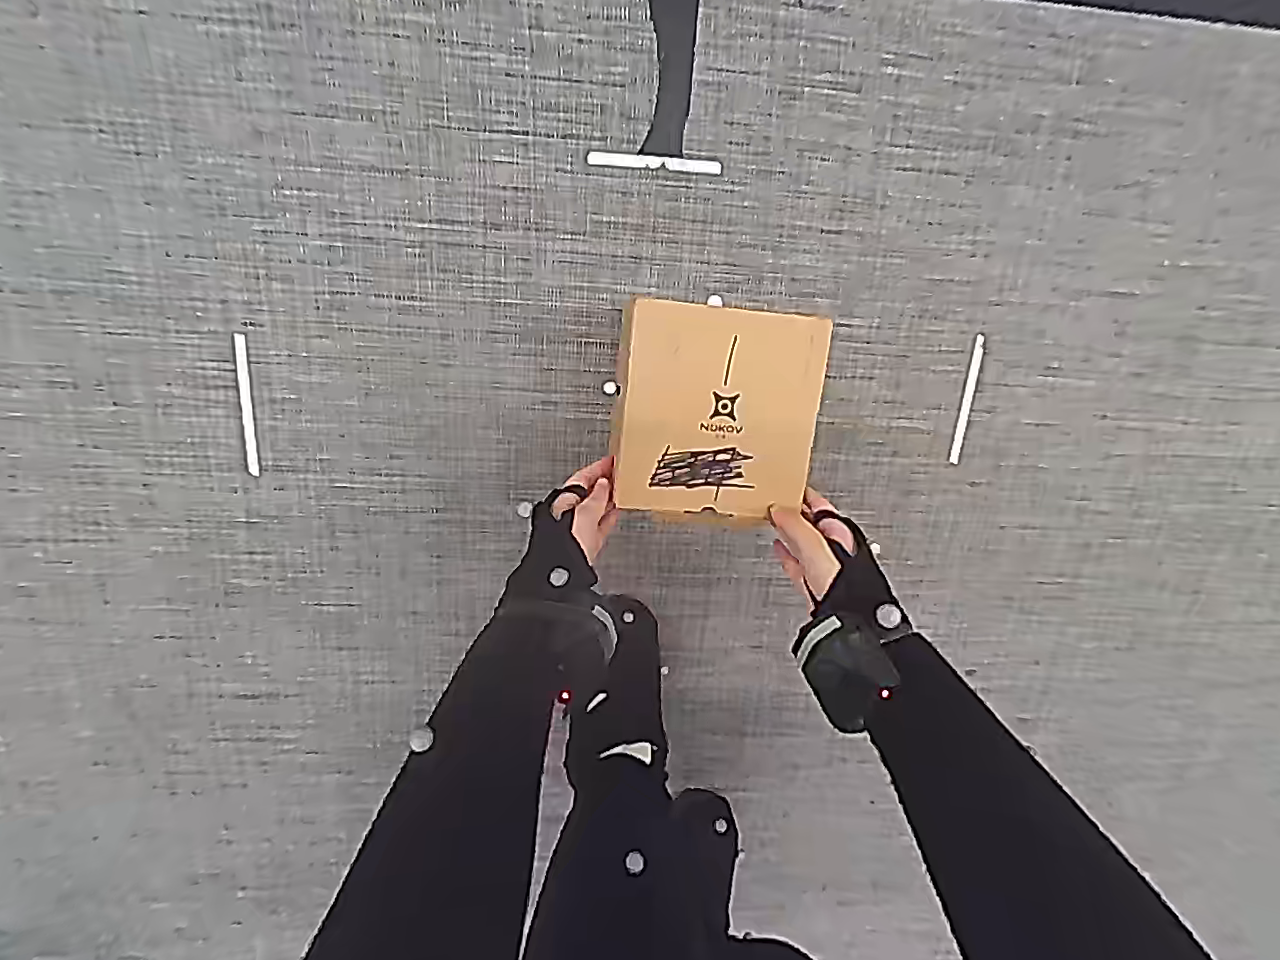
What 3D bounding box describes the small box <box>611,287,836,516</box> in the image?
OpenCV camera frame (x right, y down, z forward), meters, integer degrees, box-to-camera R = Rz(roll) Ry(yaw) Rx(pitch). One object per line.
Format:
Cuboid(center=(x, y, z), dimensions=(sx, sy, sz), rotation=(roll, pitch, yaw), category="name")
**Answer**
Cuboid(center=(0.062, -0.079, 0.523), dimensions=(0.168, 0.176, 0.179), rotation=(5, 103, -7), category="small box")
